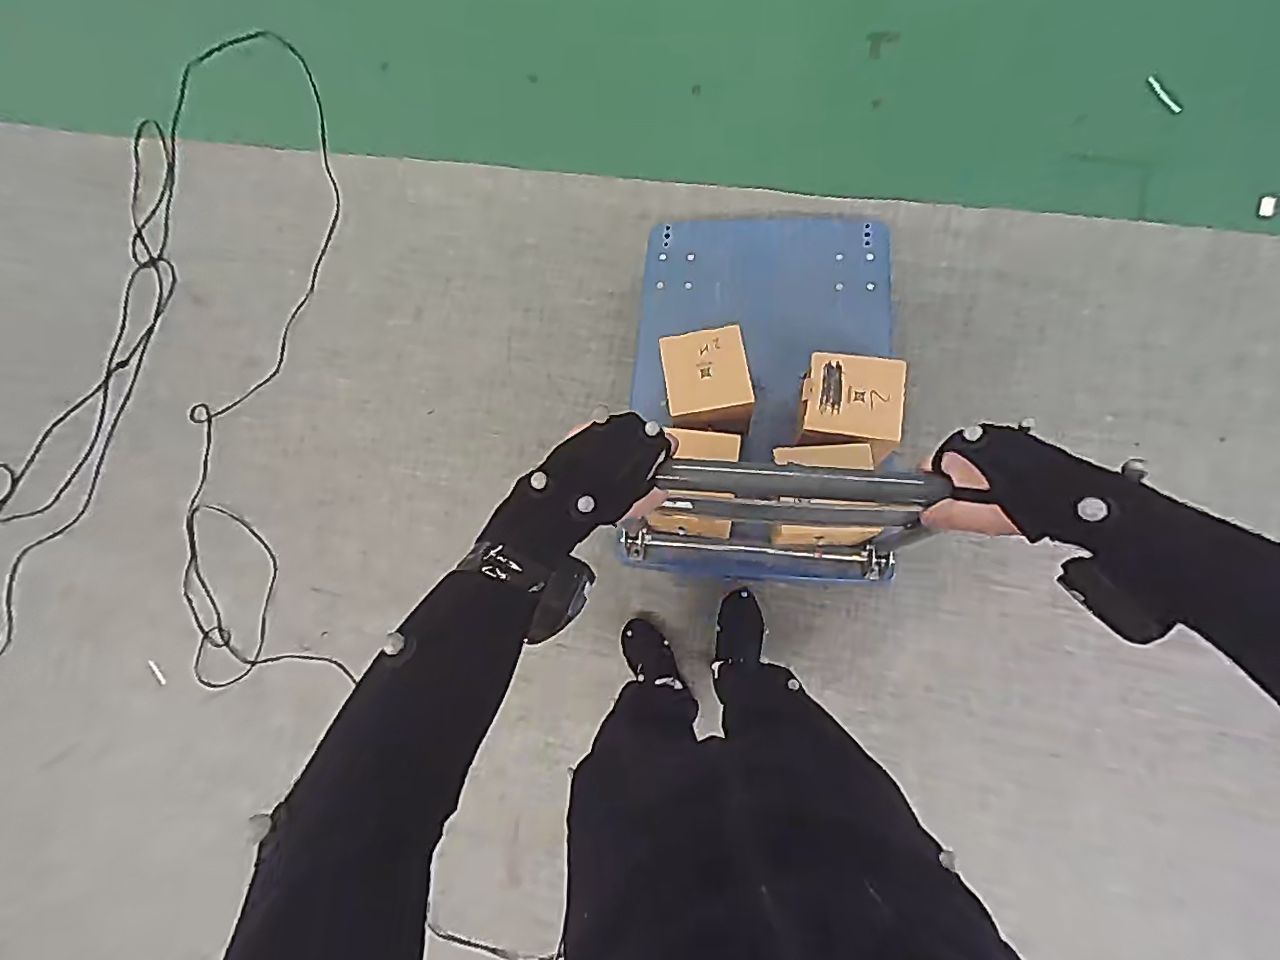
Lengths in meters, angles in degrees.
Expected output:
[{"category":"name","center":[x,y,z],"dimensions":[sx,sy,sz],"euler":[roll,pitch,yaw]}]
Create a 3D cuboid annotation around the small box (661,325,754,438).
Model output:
[{"category":"small box","center":[0.142,-0.197,1.142],"dimensions":[0.168,0.176,0.179],"euler":[-9,73,4]}]
